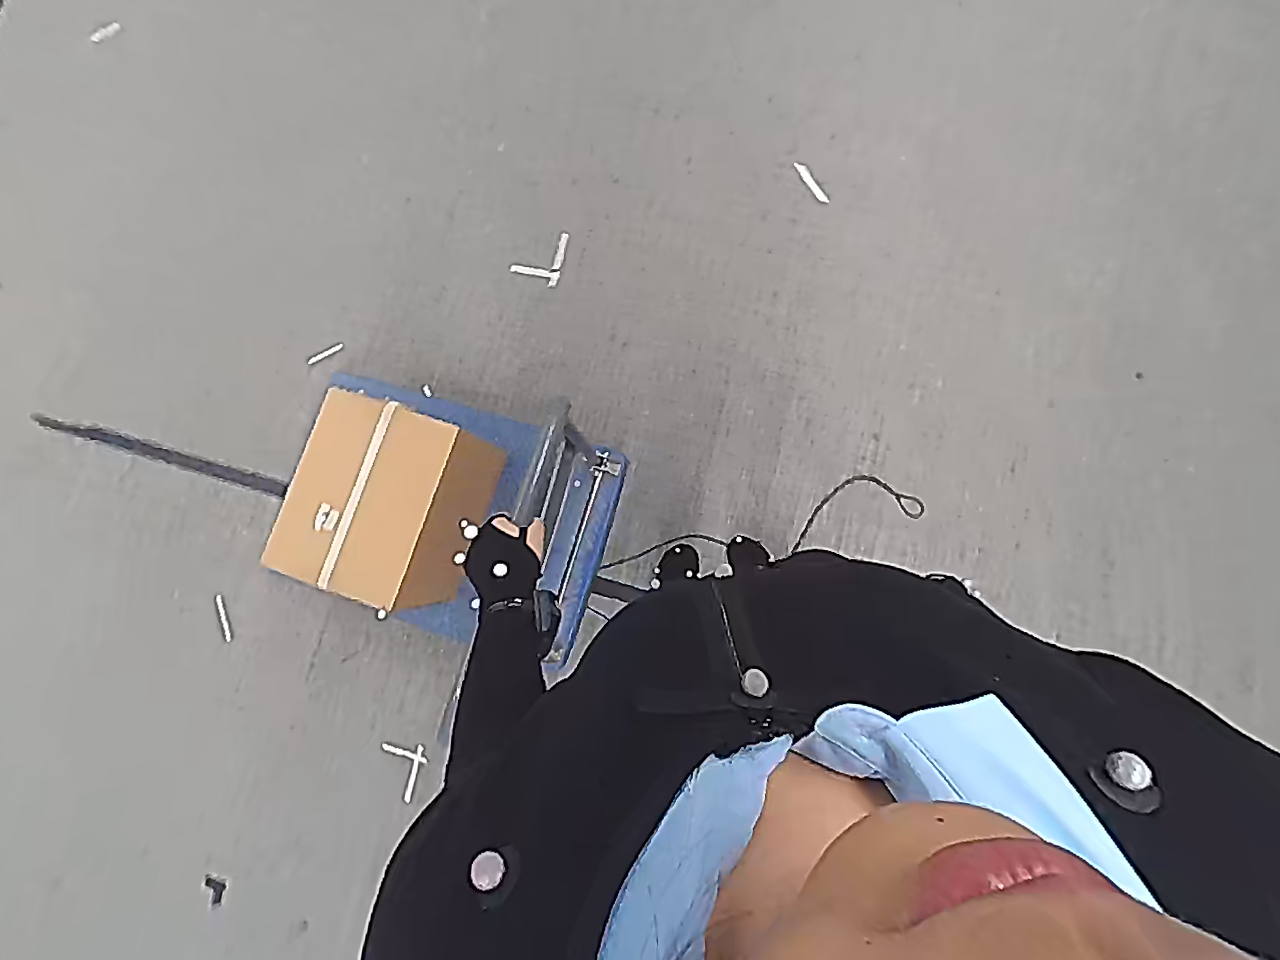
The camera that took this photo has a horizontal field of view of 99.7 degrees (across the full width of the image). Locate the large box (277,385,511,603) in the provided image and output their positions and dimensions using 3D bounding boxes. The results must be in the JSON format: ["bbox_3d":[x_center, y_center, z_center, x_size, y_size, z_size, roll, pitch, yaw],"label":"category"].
[{"bbox_3d":[-0.552,0.037,1.287,0.320,0.320,0.408,18,86,9],"label":"large box"}]
